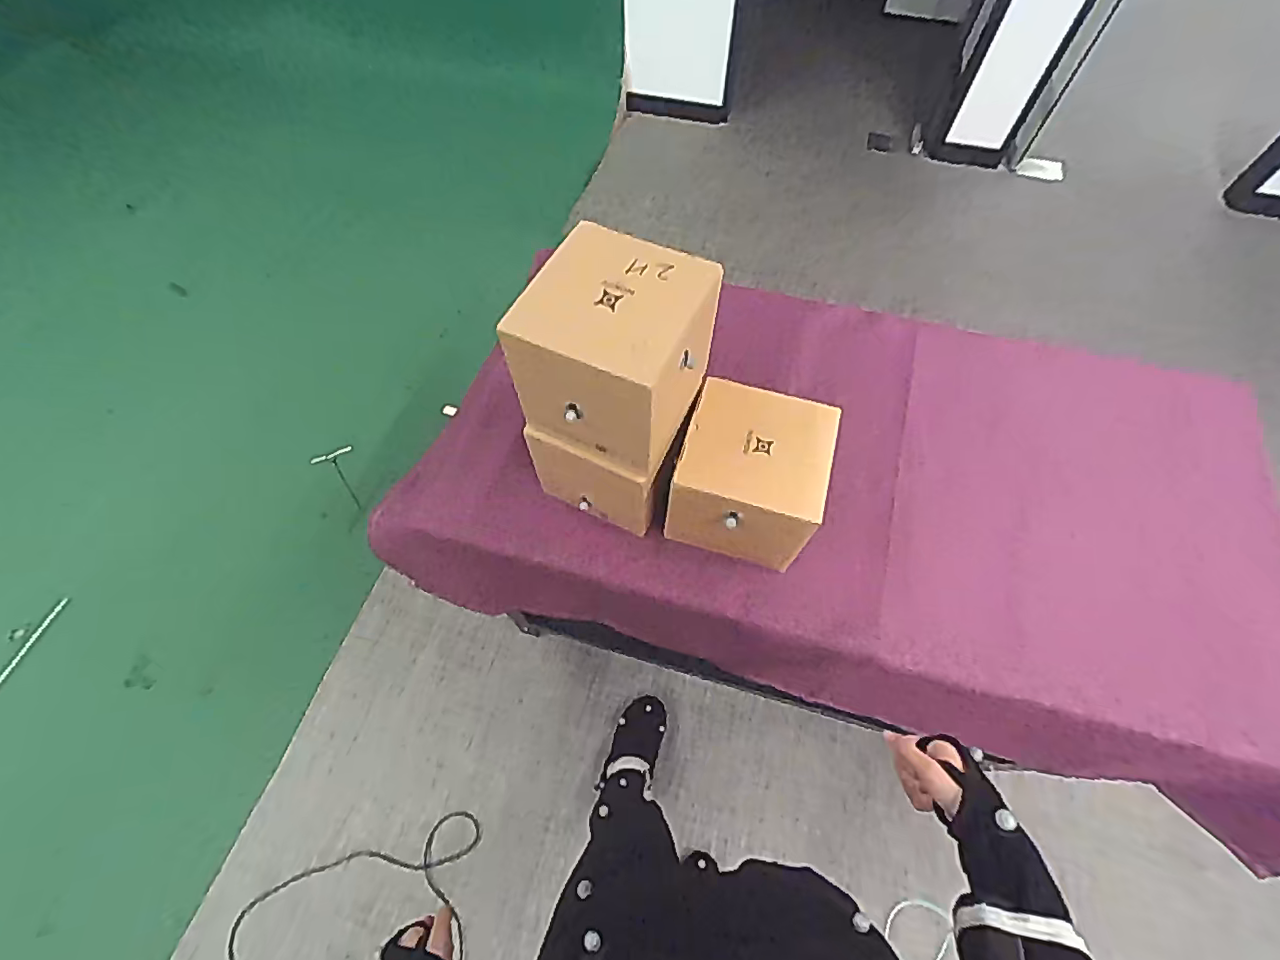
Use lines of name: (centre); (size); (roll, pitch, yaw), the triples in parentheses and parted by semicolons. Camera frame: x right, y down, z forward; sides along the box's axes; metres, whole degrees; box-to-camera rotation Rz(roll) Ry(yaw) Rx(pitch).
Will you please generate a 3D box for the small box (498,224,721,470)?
small box: (-0.025, -0.139, 0.599); (0.168, 0.176, 0.179); (23, 64, 12)
